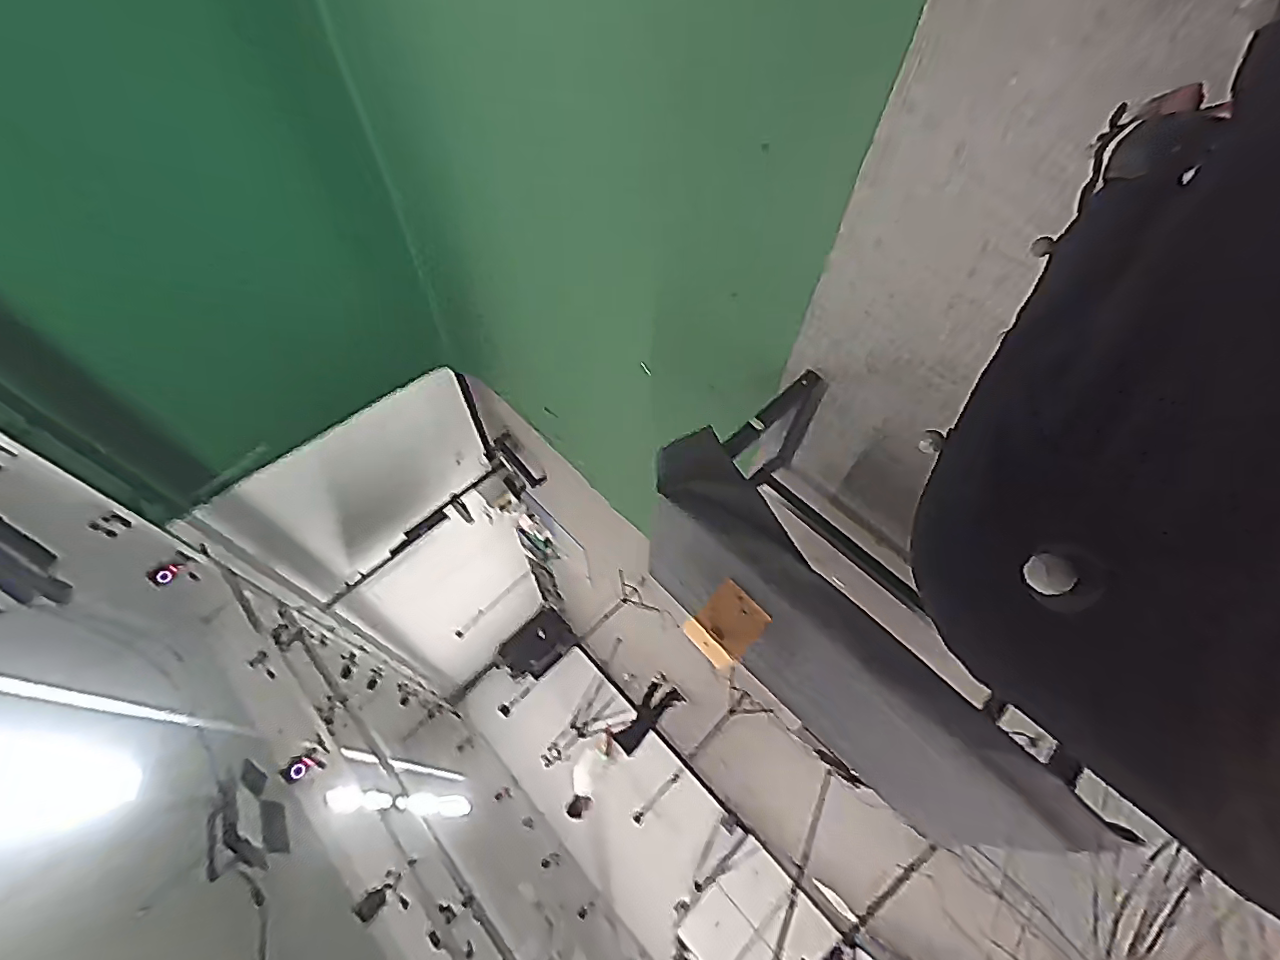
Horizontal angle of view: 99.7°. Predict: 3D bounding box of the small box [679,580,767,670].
[{"bbox_3d":[0.239,0.419,1.568,0.168,0.176,0.179,45,156,16],"label":"small box"}]
